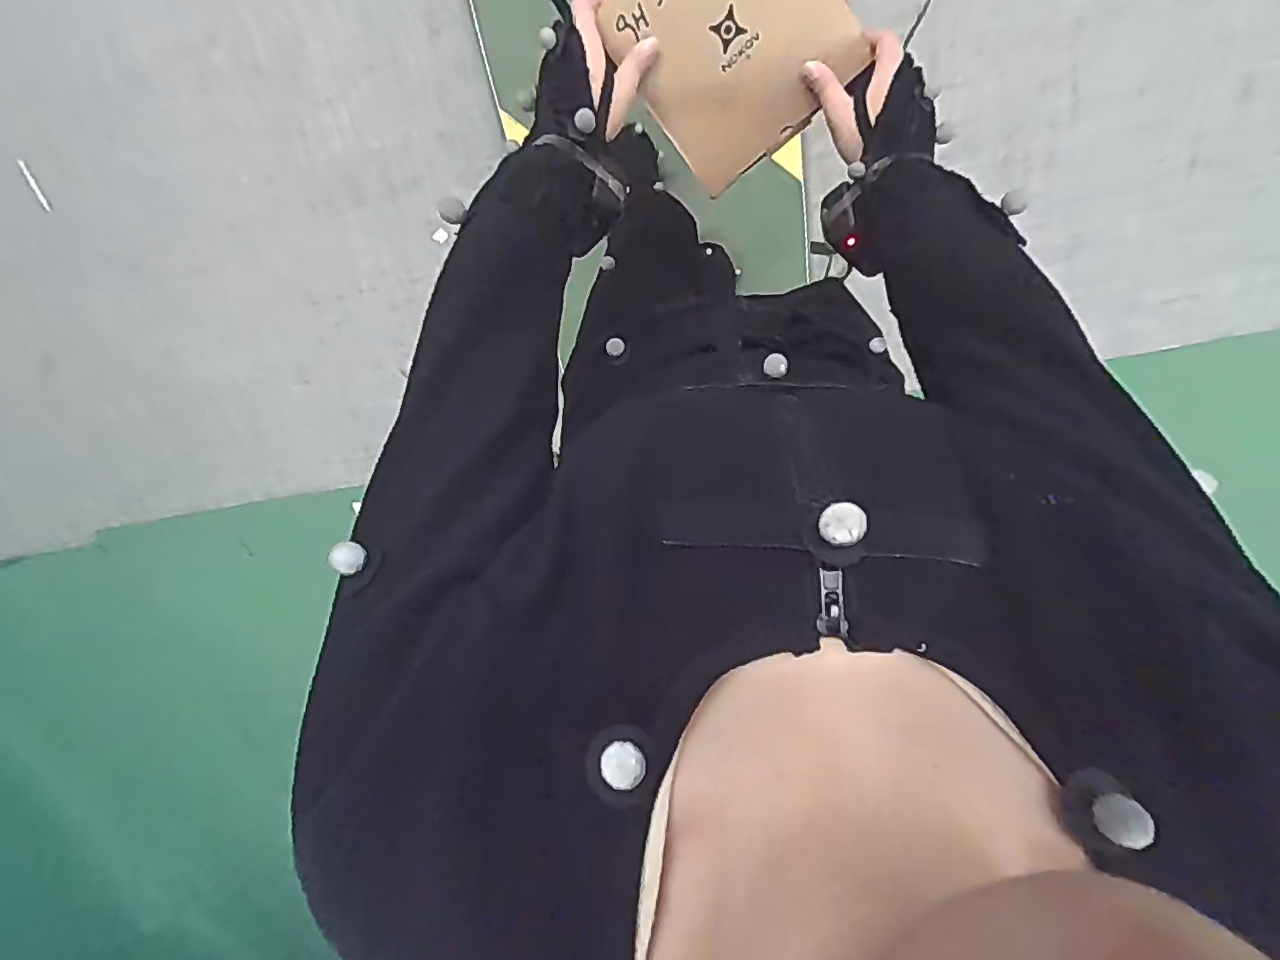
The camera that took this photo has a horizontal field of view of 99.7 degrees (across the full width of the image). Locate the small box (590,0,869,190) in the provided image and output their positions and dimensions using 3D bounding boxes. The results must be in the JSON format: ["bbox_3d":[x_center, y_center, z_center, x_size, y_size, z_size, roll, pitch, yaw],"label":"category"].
[{"bbox_3d":[0.079,-0.417,0.499,0.168,0.176,0.179,-32,123,27],"label":"small box"}]
